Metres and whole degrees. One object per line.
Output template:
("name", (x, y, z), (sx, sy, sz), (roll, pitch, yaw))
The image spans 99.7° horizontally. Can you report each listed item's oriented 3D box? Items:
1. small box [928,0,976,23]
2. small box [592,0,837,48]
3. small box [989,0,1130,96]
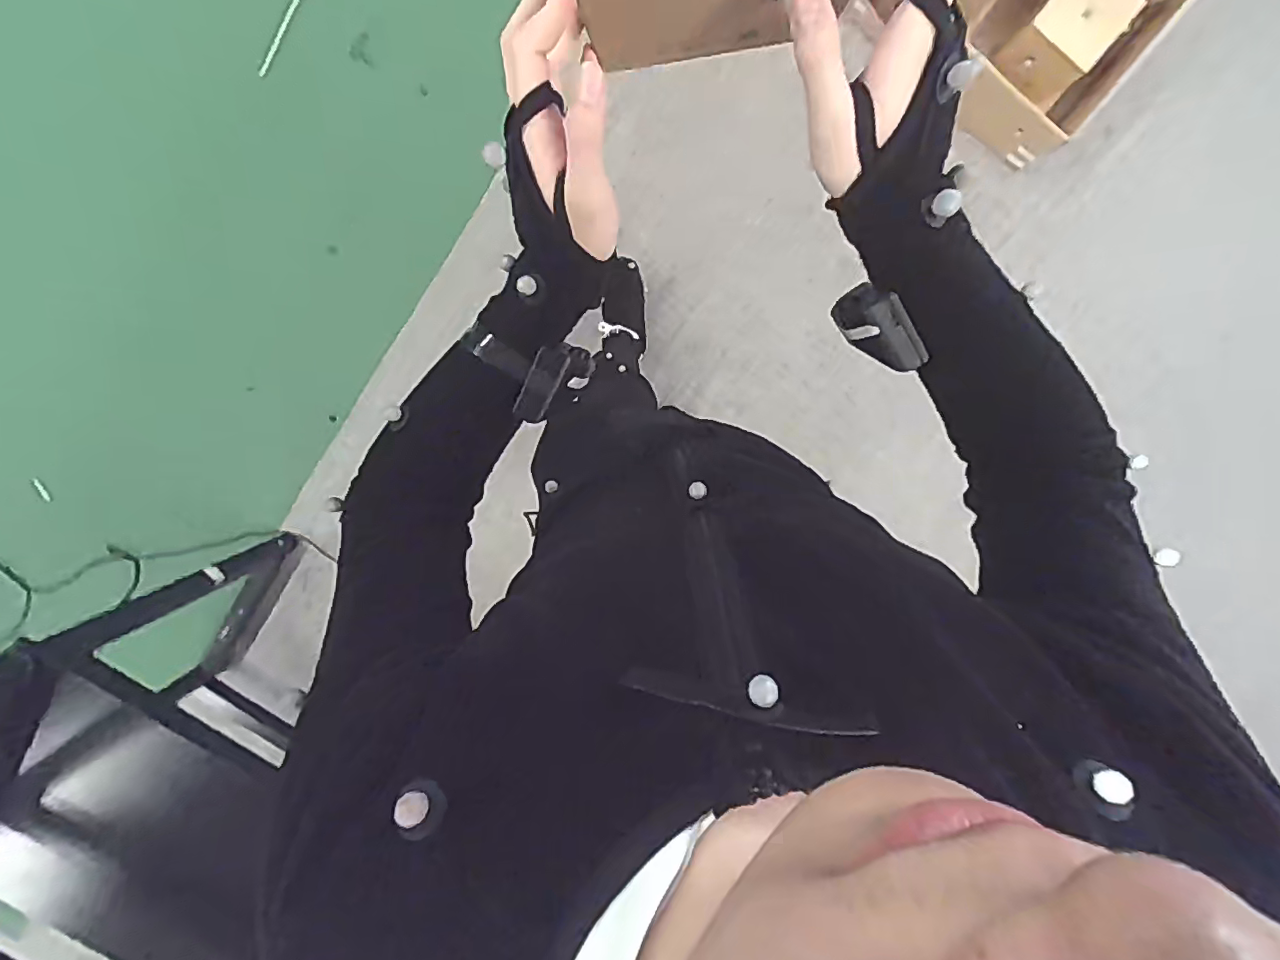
("small box", (0.753, -1.210, 1.229), (0.168, 0.176, 0.179), (36, 101, -7))
("small box", (0.044, -0.371, 0.295), (0.168, 0.176, 0.179), (-4, 110, 4))
("small box", (0.961, -1.052, 1.258), (0.168, 0.176, 0.179), (36, 101, -5))
